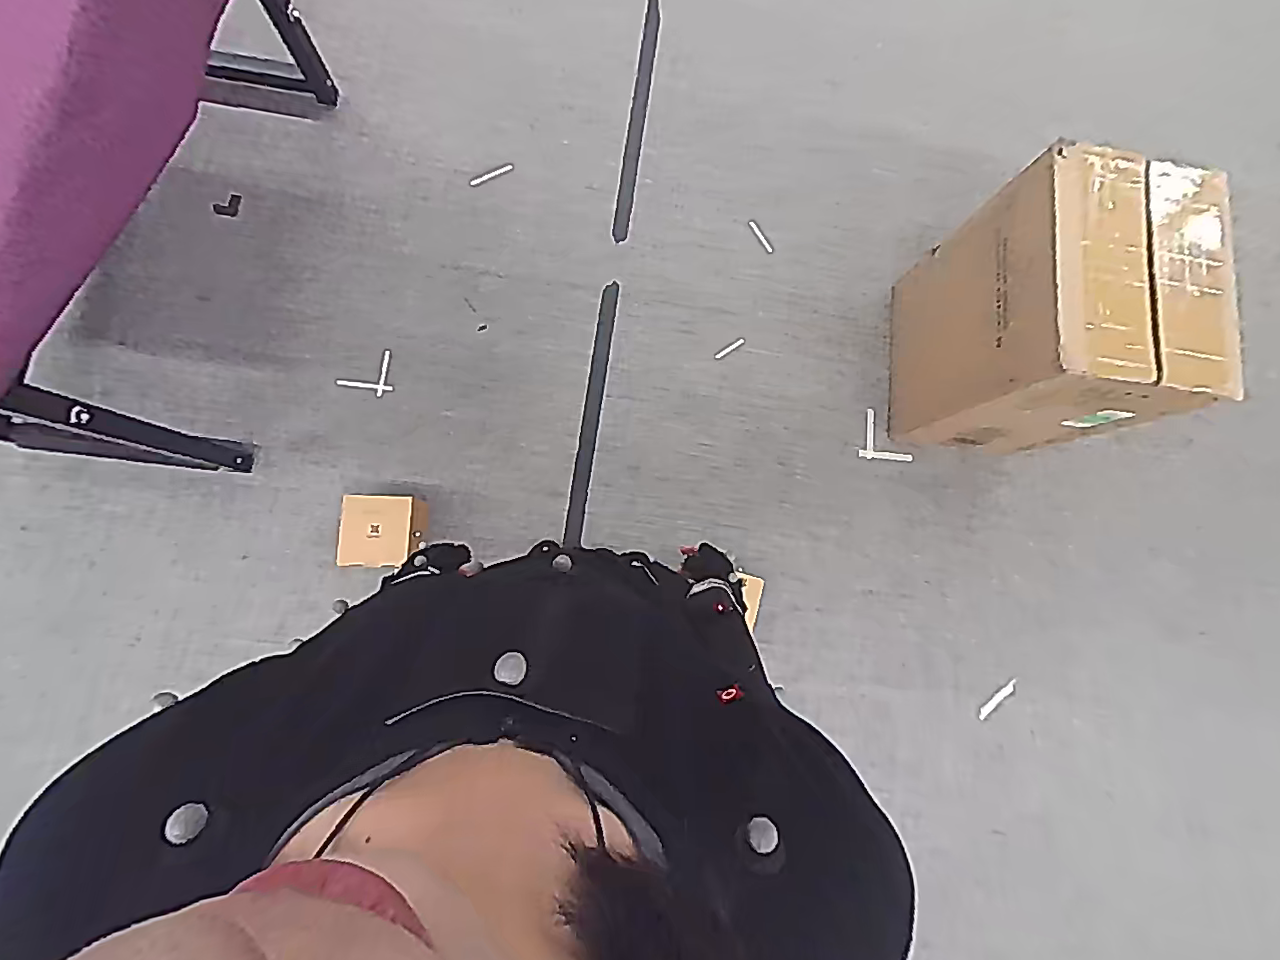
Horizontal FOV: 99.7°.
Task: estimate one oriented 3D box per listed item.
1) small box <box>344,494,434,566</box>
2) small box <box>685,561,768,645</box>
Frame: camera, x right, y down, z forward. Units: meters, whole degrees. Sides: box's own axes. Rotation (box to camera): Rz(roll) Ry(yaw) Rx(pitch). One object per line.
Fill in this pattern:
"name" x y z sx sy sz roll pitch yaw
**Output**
"small box" -0.645 0.135 1.411 0.168 0.176 0.179 2 81 -6
"small box" 0.227 0.326 1.468 0.168 0.176 0.179 17 81 -3
